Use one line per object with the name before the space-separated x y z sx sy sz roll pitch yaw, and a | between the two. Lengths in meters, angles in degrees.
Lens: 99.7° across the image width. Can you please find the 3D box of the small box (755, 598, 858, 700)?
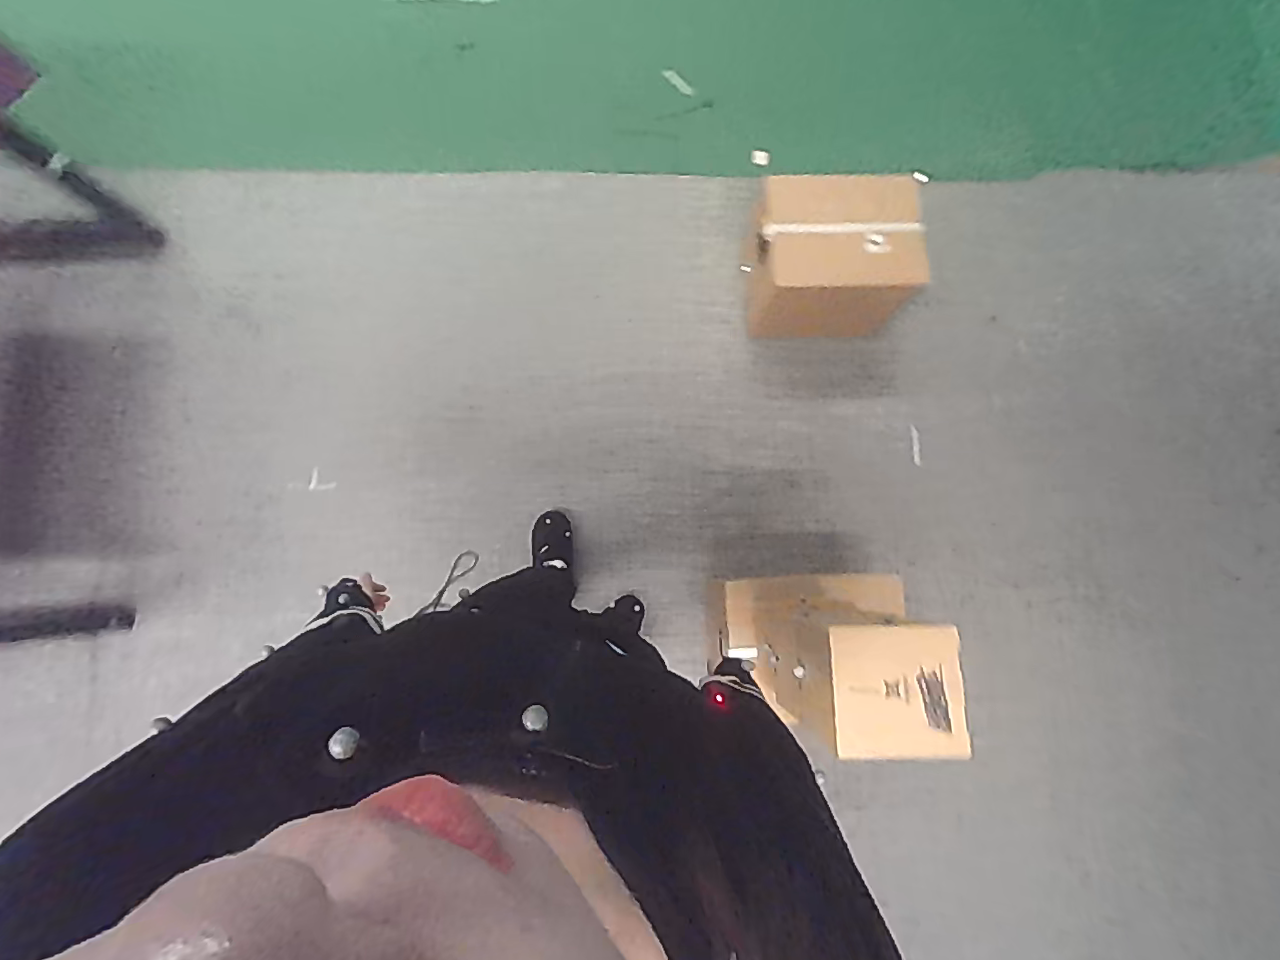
small box | 0.343 0.341 1.116 0.168 0.176 0.179 -3 80 -2

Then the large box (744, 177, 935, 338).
large box | 0.532 -0.608 1.519 0.408 0.320 0.320 -1 81 -3

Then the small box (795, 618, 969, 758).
small box | 0.340 0.292 0.790 0.179 0.176 0.168 0 80 0
